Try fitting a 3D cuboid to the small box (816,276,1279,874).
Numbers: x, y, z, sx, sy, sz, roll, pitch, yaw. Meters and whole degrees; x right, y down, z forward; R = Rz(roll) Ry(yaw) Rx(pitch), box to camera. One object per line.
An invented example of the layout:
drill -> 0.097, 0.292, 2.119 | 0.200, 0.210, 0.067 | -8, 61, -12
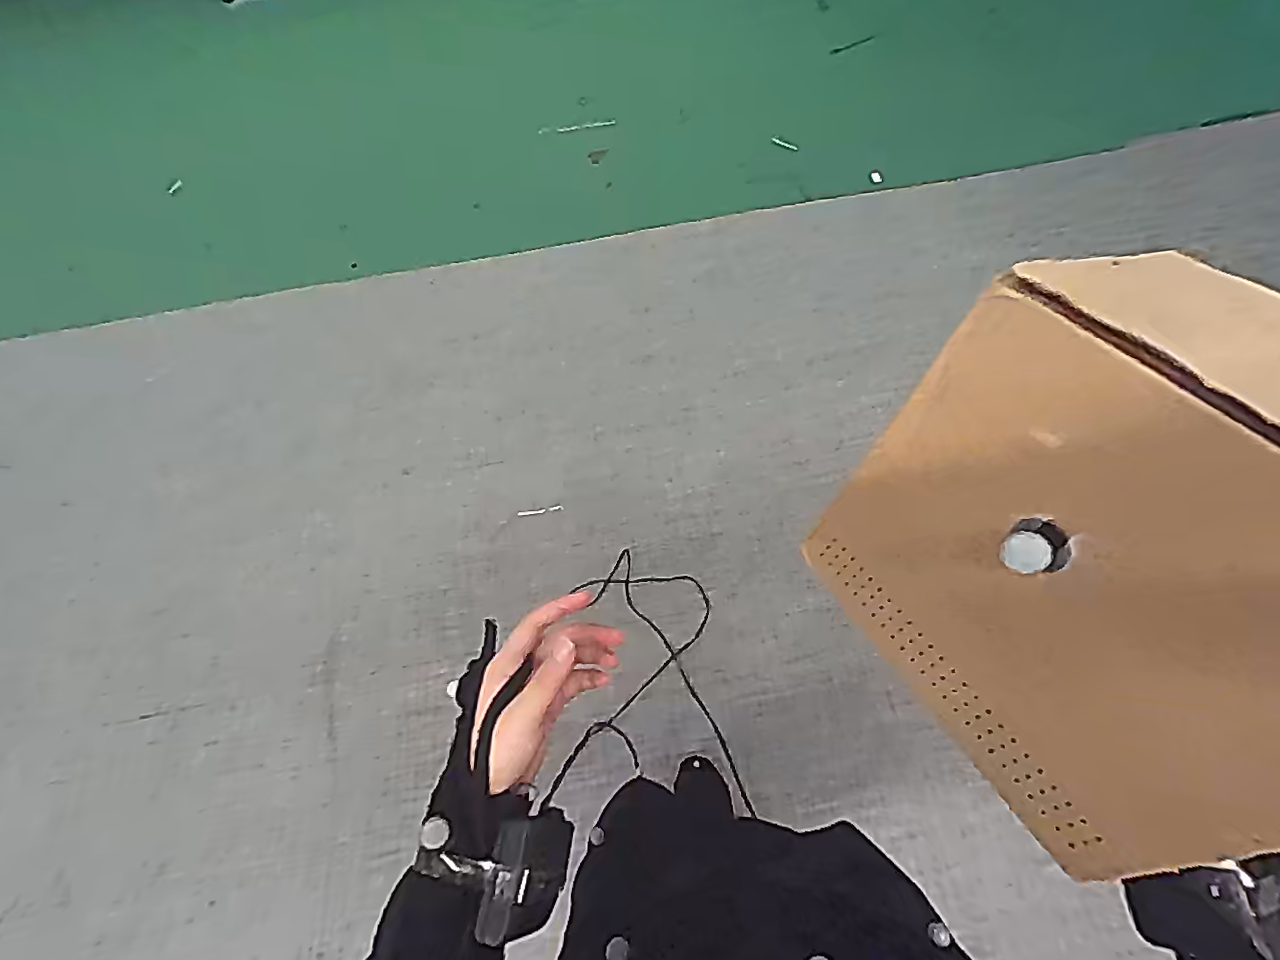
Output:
small box -> 0.216, 0.032, 0.244 | 0.168, 0.176, 0.179 | -18, 54, -29
